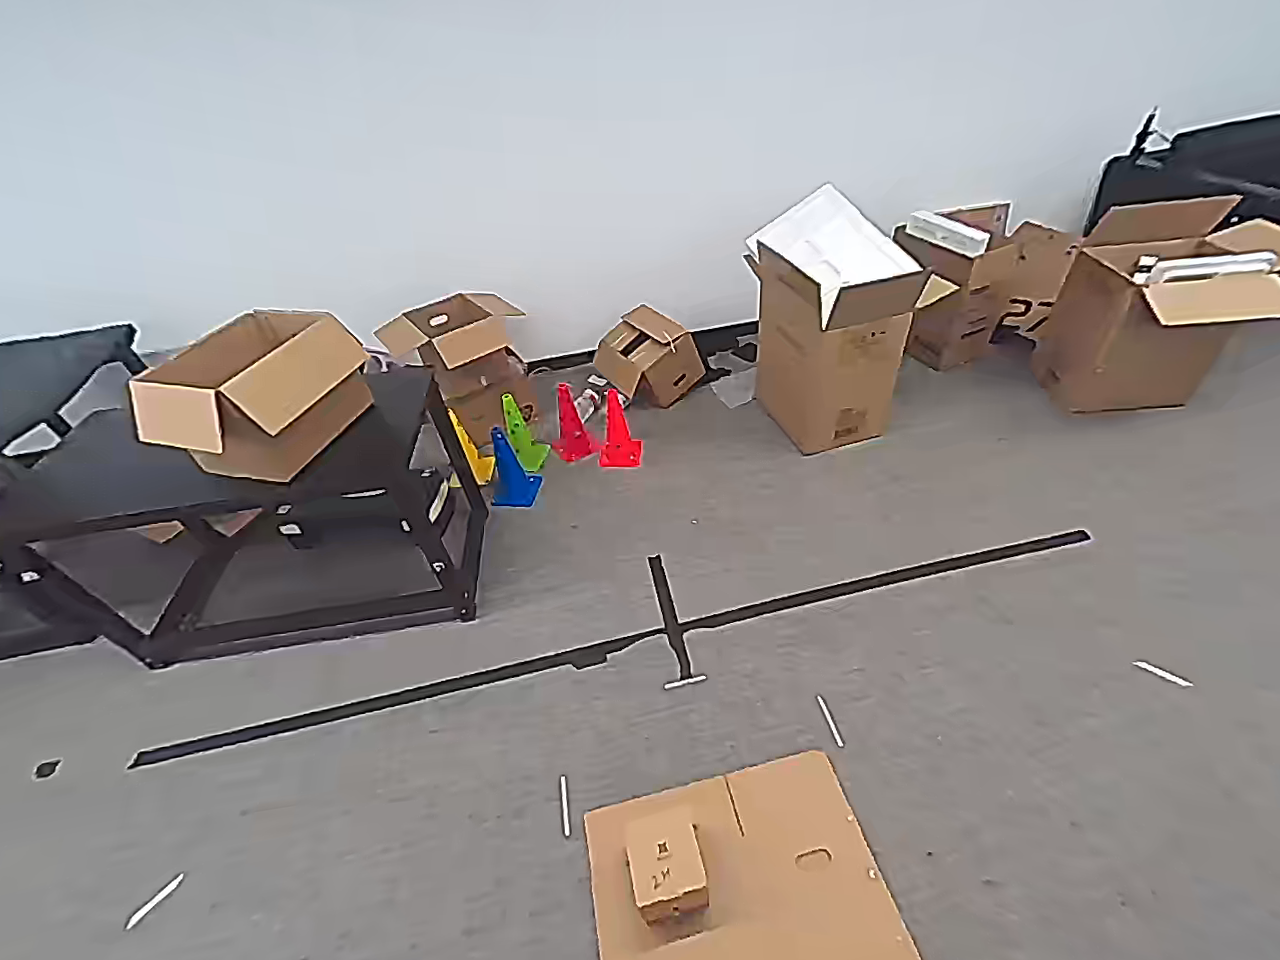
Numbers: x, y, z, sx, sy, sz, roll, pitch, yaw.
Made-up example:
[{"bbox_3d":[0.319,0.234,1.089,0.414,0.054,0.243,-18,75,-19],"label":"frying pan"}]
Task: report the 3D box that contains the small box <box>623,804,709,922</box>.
[{"bbox_3d":[0.061,0.918,1.297,0.168,0.176,0.179,-13,42,-5],"label":"small box"}]
